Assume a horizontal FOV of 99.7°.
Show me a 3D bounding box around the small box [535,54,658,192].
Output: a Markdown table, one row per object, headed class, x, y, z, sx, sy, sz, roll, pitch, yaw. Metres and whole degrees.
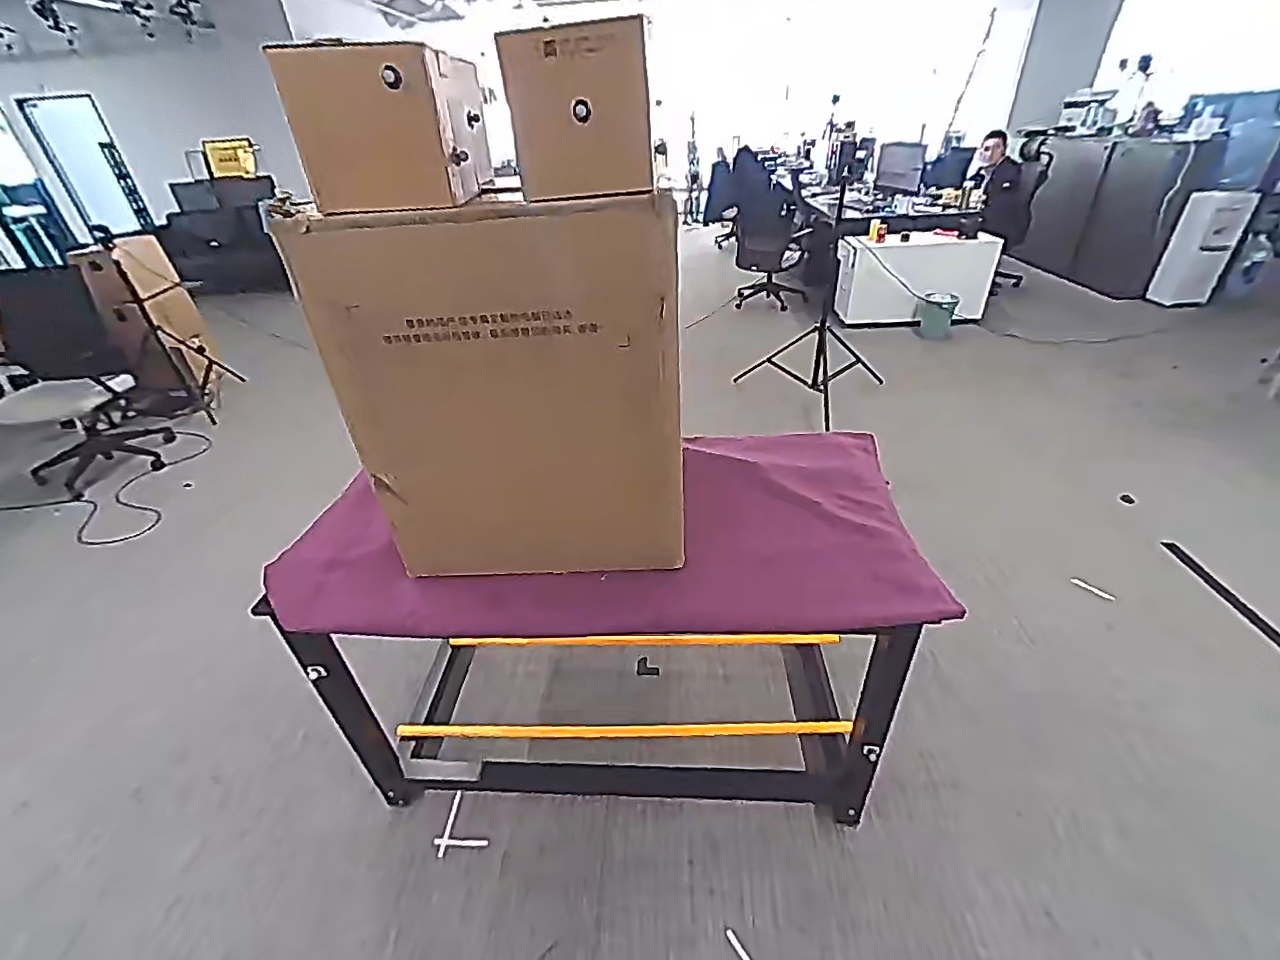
| class | x | y | z | sx | sy | sz | roll | pitch | yaw |
| --- | --- | --- | --- | --- | --- | --- | --- | --- | --- |
| small box | -0.059 | -0.569 | 0.875 | 0.168 | 0.176 | 0.179 | -2 | 33 | 5 |
